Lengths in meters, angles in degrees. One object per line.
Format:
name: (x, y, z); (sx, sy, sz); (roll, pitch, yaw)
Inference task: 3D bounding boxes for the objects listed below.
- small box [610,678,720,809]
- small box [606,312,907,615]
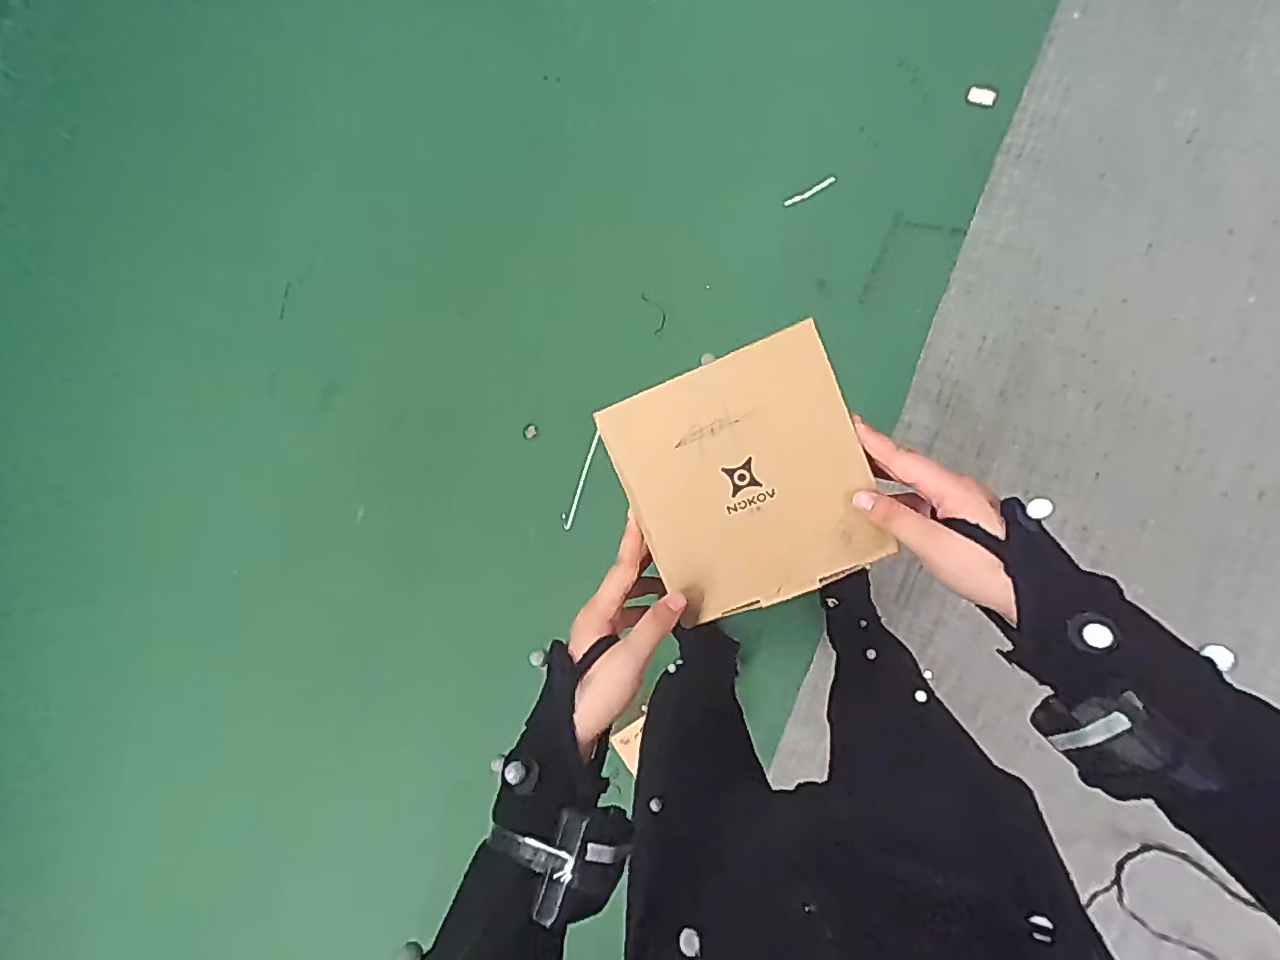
small box: (0.065, 0.587, 1.224); (0.168, 0.176, 0.179); (-38, 82, 12)
small box: (0.091, -0.017, 0.457); (0.168, 0.176, 0.179); (-22, 93, 9)
